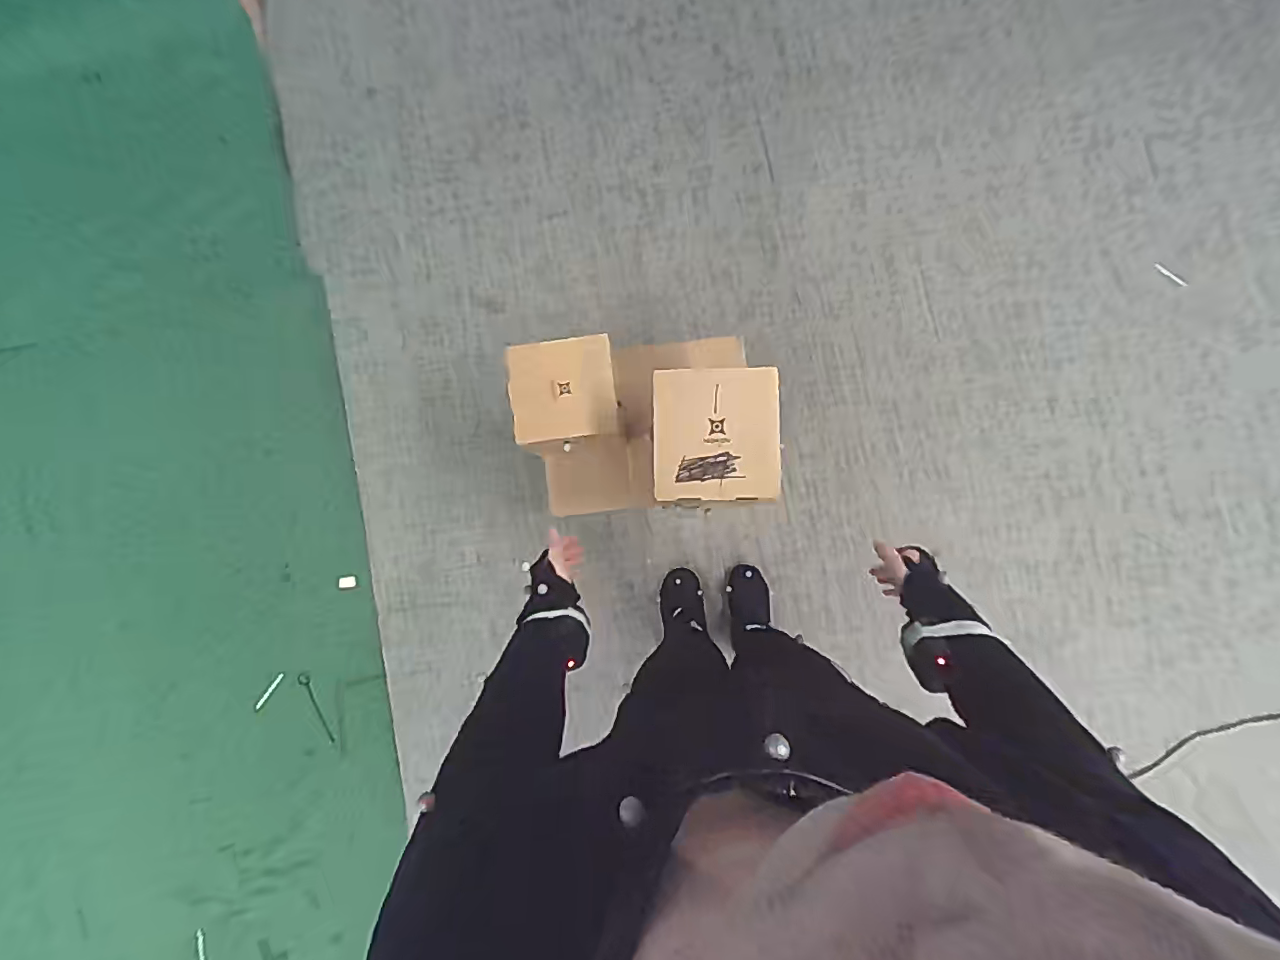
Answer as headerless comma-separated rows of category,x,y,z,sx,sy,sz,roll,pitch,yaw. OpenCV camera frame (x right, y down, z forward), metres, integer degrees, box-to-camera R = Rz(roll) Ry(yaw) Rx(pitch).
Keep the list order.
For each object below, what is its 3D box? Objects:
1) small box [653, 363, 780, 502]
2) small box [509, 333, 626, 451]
small box,0.105,-0.059,0.781,0.168,0.176,0.179,-1,84,4
small box,-0.120,-0.148,0.967,0.179,0.176,0.168,-7,85,3
